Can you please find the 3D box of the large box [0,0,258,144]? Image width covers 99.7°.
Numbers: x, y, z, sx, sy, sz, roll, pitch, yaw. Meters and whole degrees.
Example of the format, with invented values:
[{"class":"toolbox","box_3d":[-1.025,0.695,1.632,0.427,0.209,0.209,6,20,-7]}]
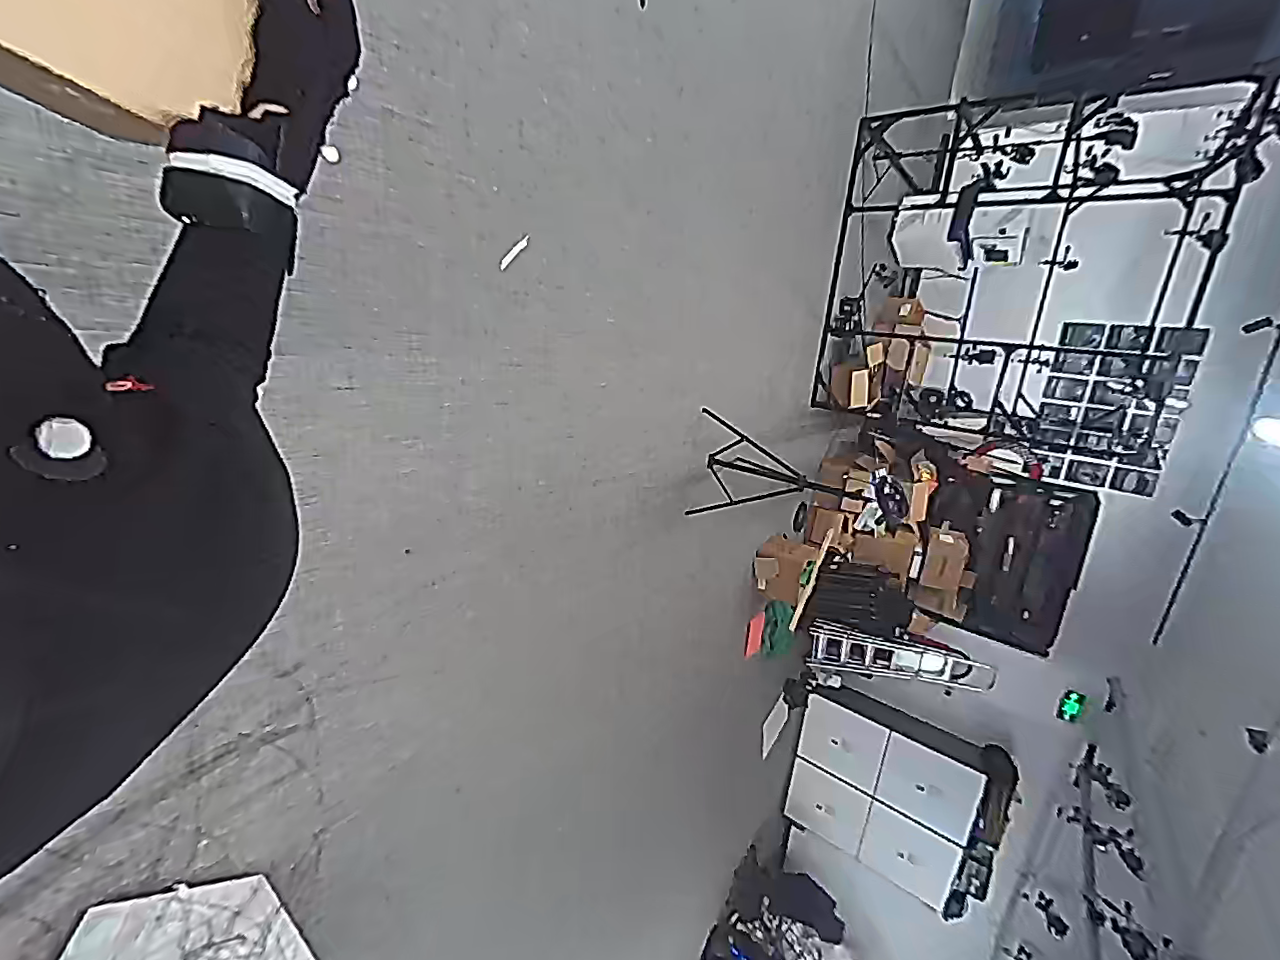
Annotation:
[{"class":"large box","box_3d":[-0.488,-0.464,0.301,0.408,0.320,0.320,9,105,-59]}]
